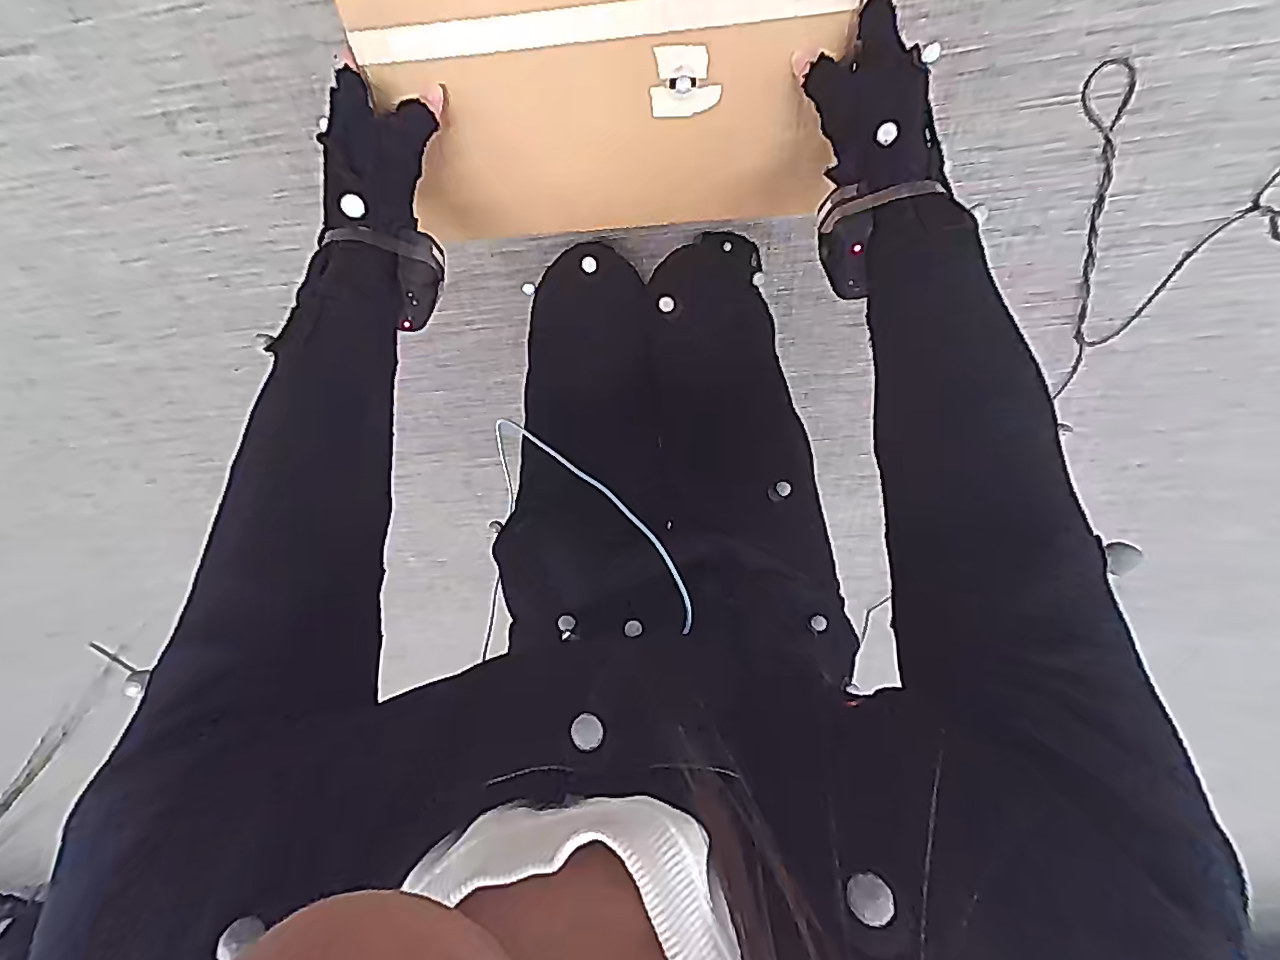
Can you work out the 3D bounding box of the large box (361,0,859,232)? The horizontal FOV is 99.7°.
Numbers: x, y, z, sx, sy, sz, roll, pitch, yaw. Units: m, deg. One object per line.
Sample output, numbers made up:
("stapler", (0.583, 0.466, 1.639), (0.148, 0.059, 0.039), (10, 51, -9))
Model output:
("large box", (-0.024, -0.476, 0.544), (0.408, 0.320, 0.320), (-3, 132, 4))
